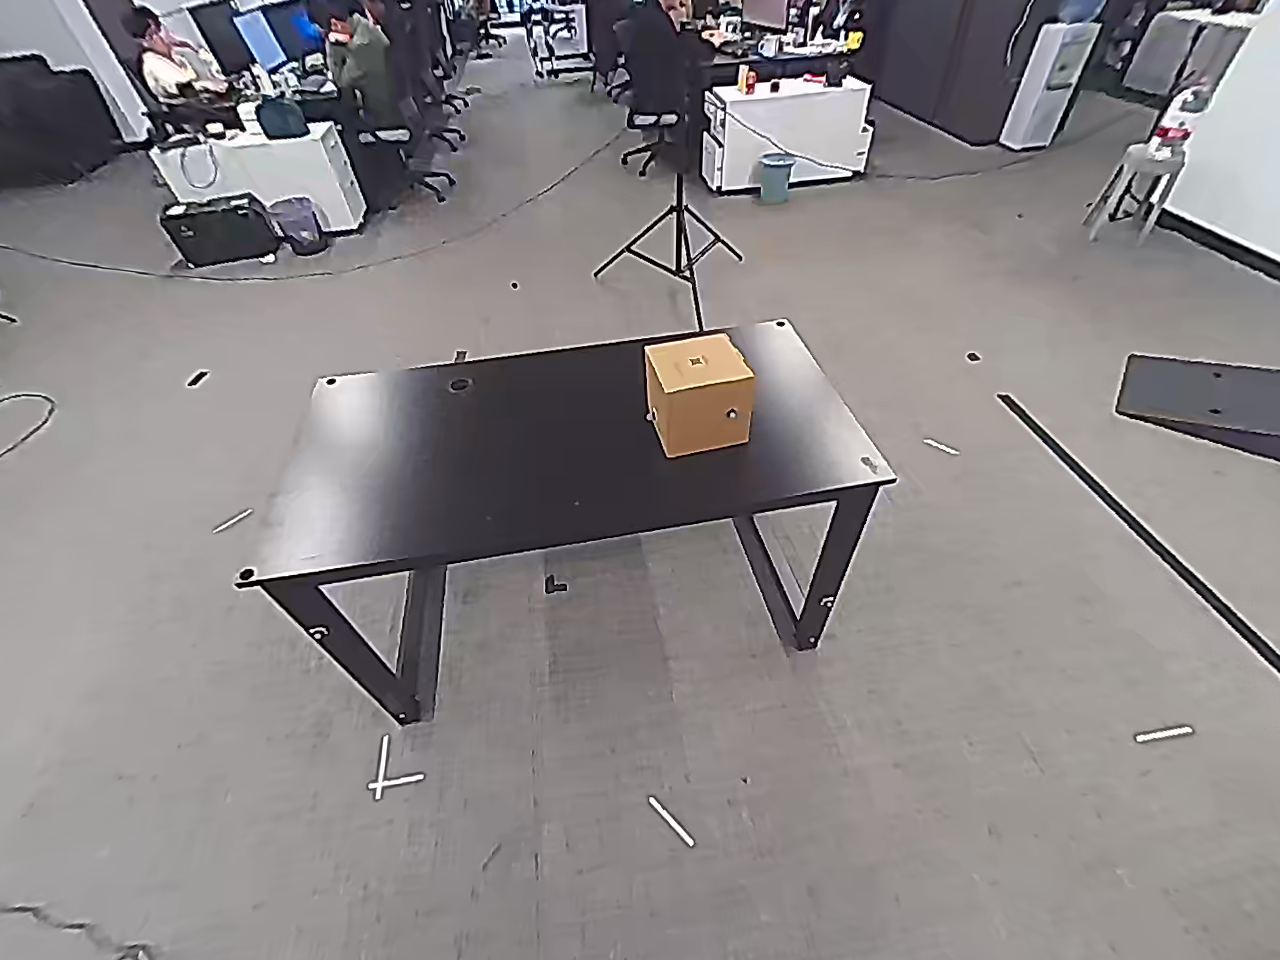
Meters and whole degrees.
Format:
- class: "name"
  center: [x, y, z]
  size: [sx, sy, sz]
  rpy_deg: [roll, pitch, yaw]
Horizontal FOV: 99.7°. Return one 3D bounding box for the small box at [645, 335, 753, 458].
- class: "small box"
  center: [0.115, -0.170, 1.107]
  size: [0.179, 0.176, 0.168]
  rpy_deg: [-13, 46, -7]
